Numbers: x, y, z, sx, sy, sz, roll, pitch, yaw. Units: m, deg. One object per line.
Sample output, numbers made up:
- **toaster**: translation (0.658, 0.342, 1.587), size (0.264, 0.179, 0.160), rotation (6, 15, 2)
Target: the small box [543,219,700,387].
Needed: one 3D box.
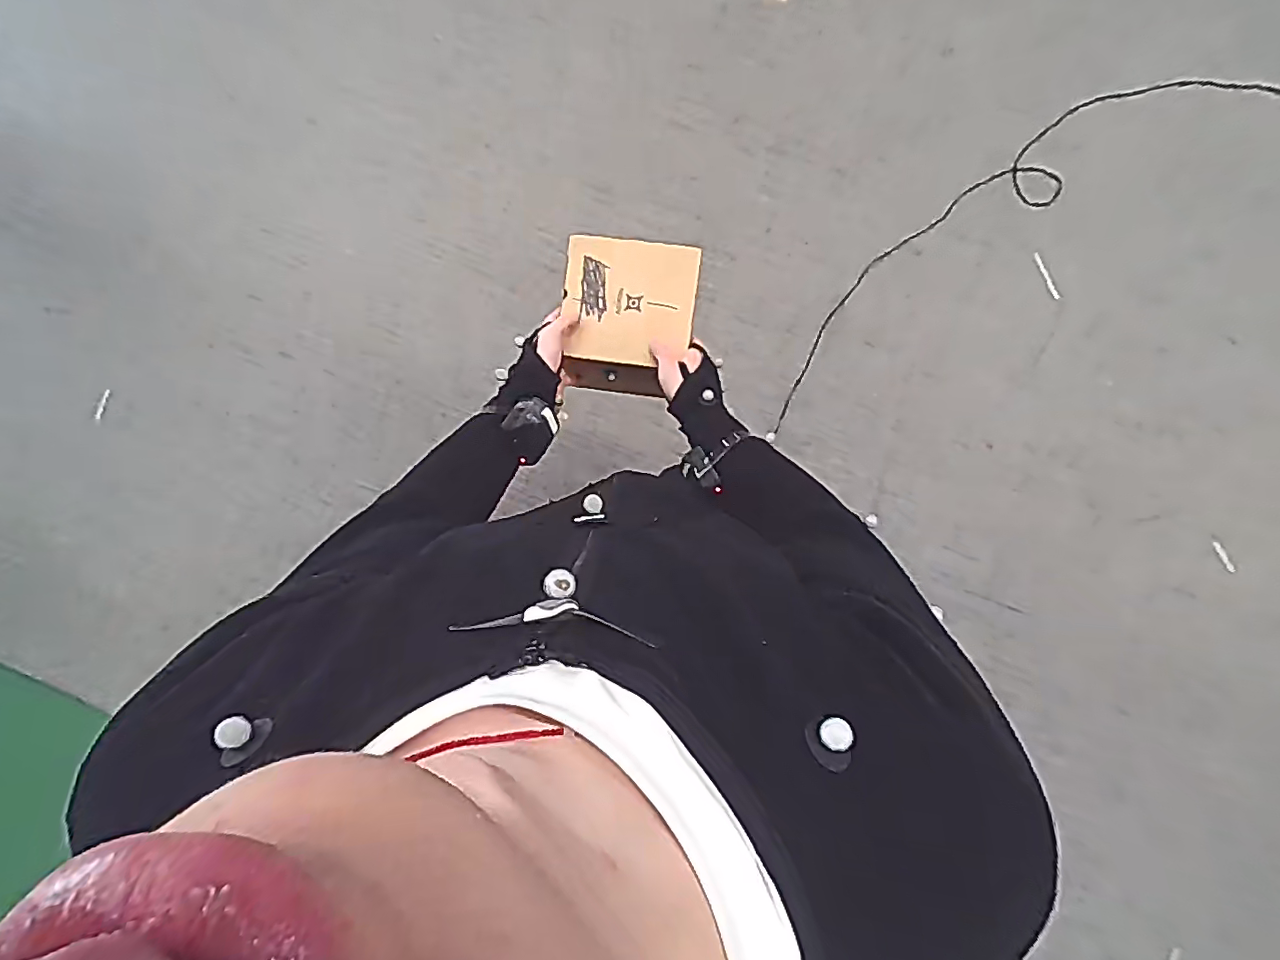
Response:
- **small box**: translation (-0.019, -0.241, 0.775), size (0.179, 0.176, 0.168), rotation (12, 88, 4)
